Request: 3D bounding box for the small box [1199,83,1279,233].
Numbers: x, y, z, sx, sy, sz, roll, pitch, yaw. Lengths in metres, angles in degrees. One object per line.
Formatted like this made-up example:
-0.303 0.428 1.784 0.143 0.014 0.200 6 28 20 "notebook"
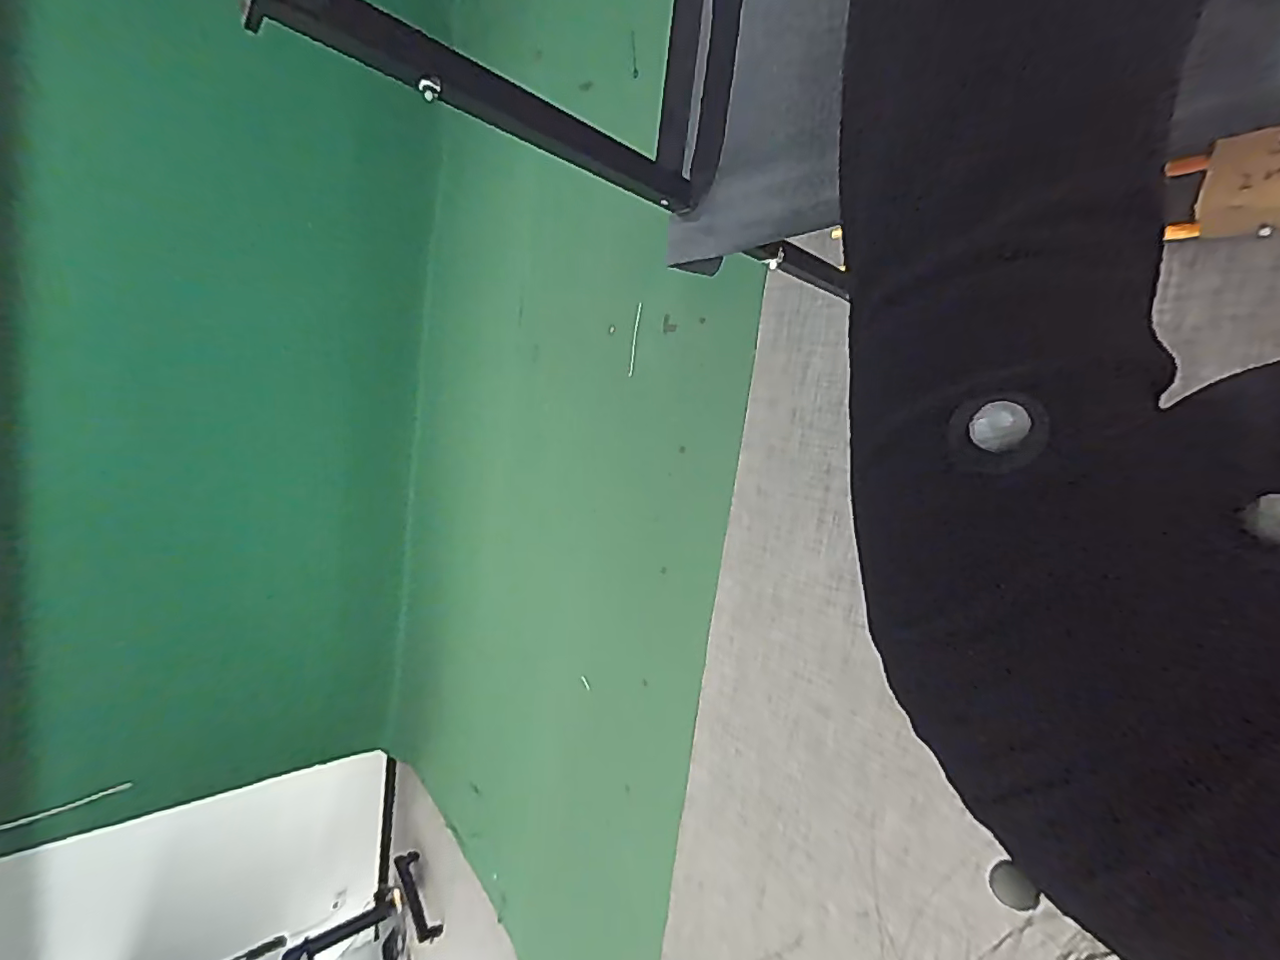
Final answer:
1.051 -0.519 0.873 0.168 0.176 0.179 22 108 47 "small box"
